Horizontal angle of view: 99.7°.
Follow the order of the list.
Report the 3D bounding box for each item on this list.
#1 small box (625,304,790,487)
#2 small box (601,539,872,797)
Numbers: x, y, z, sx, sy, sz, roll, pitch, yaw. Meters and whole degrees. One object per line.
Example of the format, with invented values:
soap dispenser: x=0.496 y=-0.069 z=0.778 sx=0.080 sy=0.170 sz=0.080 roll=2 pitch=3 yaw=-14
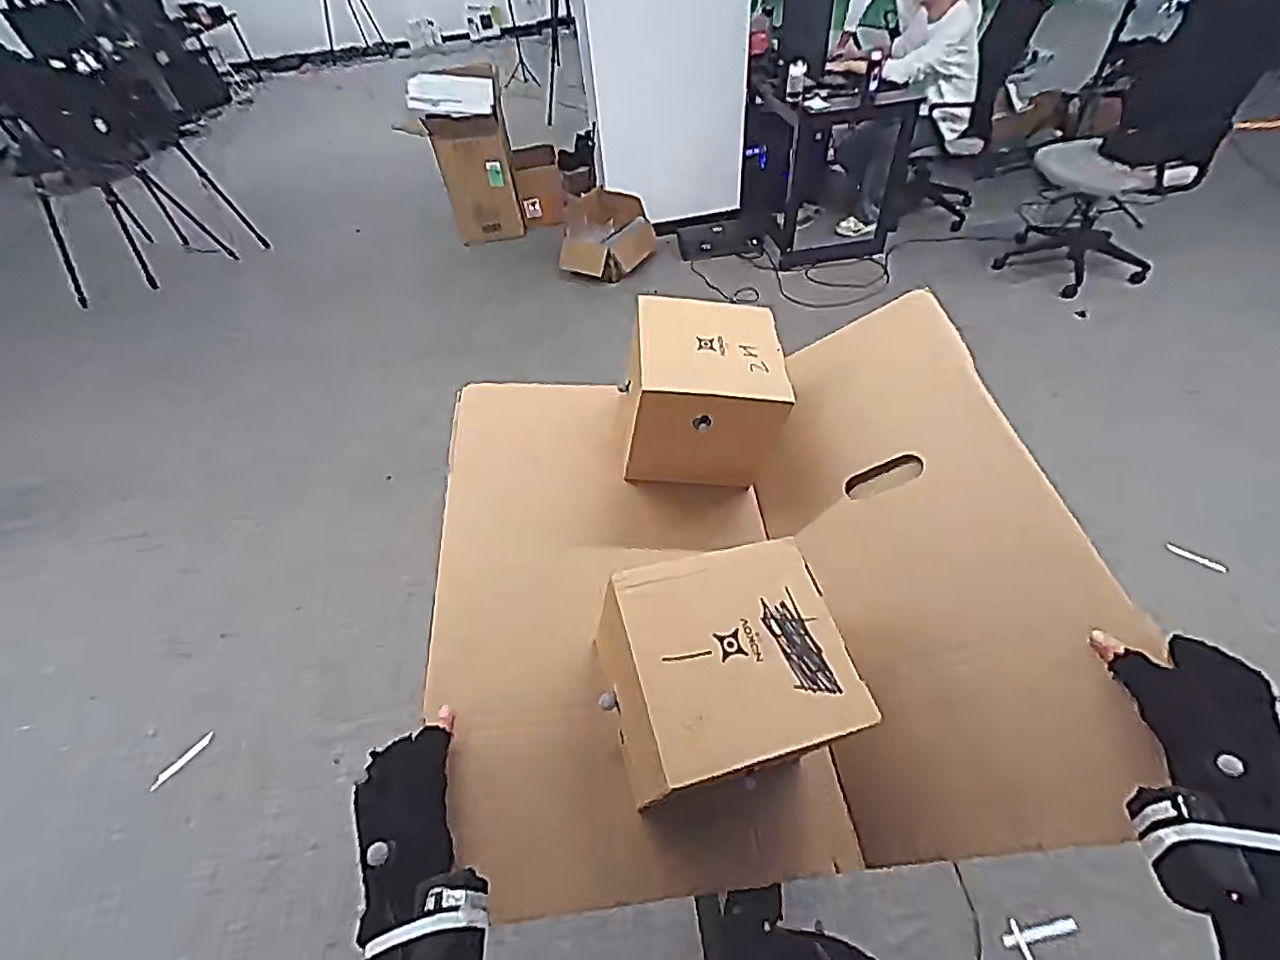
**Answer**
small box: x=0.074 y=-0.105 z=0.712 sx=0.179 sy=0.176 sz=0.168 roll=4 pitch=54 yaw=-7
small box: x=0.070 y=0.178 z=0.507 sx=0.179 sy=0.176 sz=0.168 roll=-9 pitch=57 yaw=-15
